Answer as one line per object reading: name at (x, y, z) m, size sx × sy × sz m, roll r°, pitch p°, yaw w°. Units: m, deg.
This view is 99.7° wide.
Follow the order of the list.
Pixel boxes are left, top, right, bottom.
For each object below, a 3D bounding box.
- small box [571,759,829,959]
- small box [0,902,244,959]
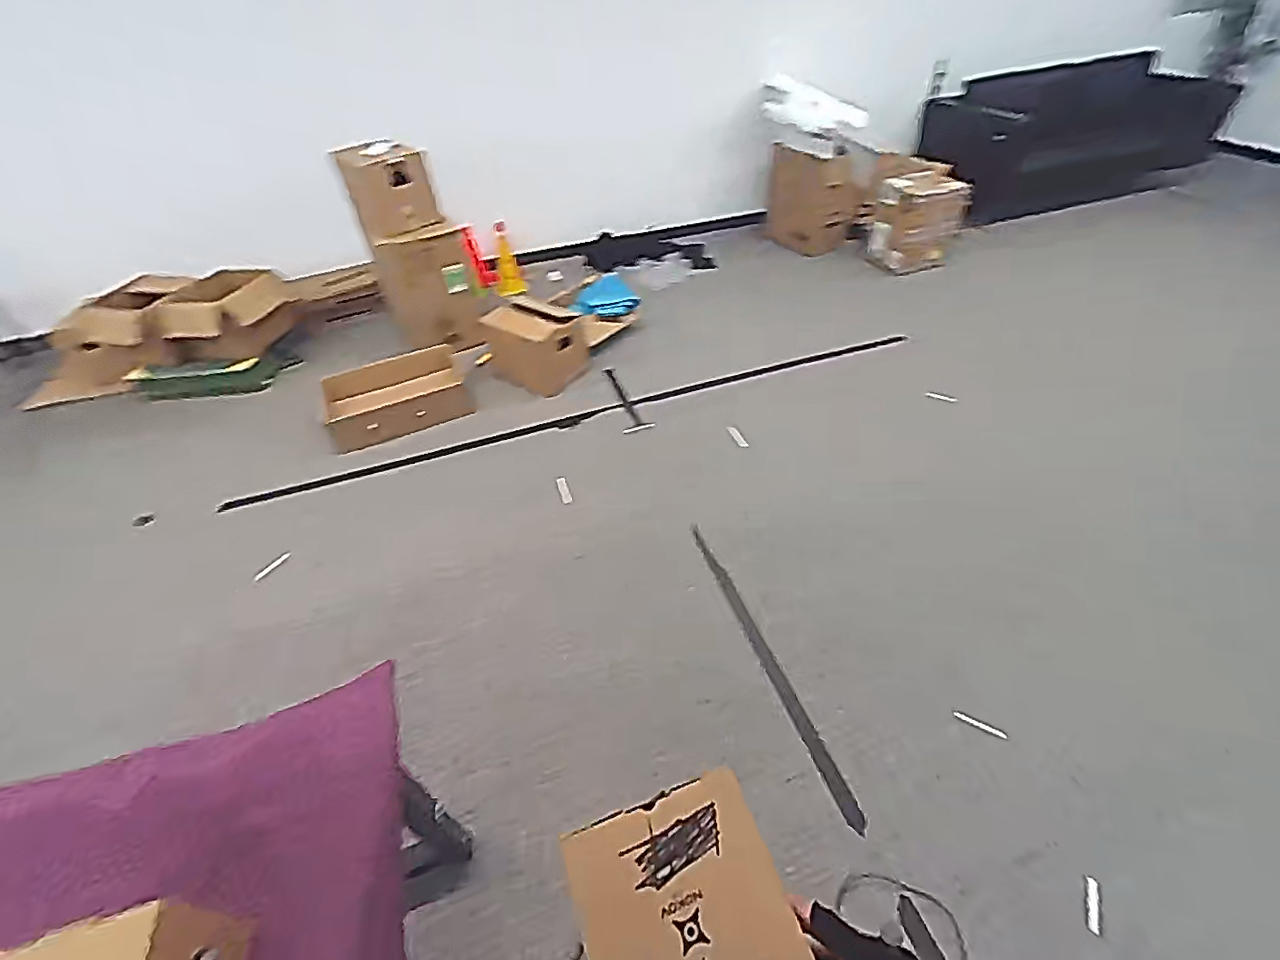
small box at (0.039, 0.386, 0.482) m, size 0.168 × 0.176 × 0.179 m, roll -14°, pitch 53°, yaw -16°
small box at (-0.509, 0.534, 0.499) m, size 0.168 × 0.176 × 0.179 m, roll -14°, pitch 46°, yaw -9°
